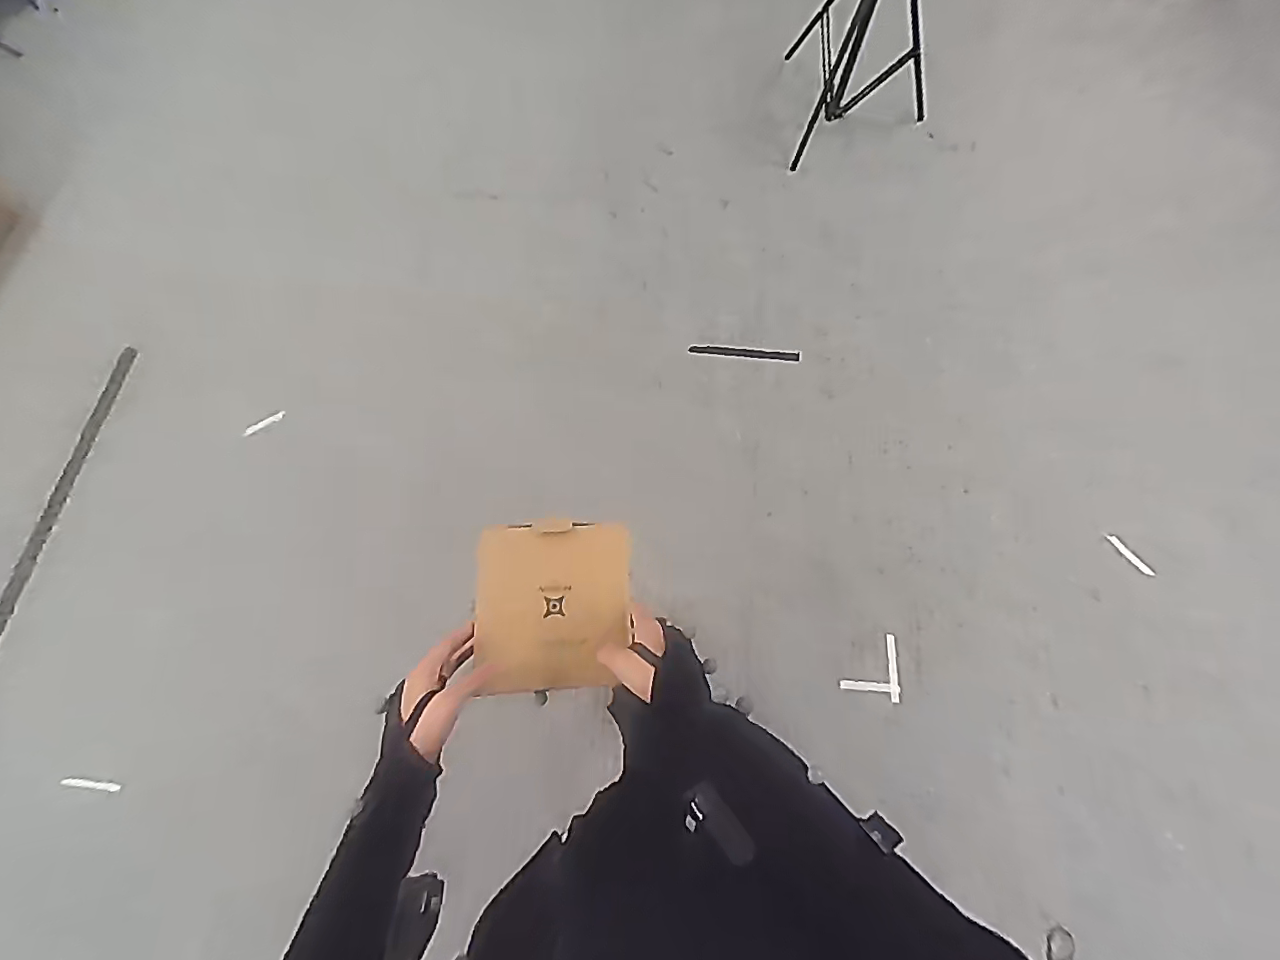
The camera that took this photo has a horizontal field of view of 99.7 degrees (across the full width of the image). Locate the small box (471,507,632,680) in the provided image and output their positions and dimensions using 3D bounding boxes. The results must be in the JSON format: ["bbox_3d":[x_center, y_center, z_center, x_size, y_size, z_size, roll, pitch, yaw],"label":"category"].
[{"bbox_3d":[-0.107,0.142,0.652,0.168,0.176,0.179,-1,69,-10],"label":"small box"}]
